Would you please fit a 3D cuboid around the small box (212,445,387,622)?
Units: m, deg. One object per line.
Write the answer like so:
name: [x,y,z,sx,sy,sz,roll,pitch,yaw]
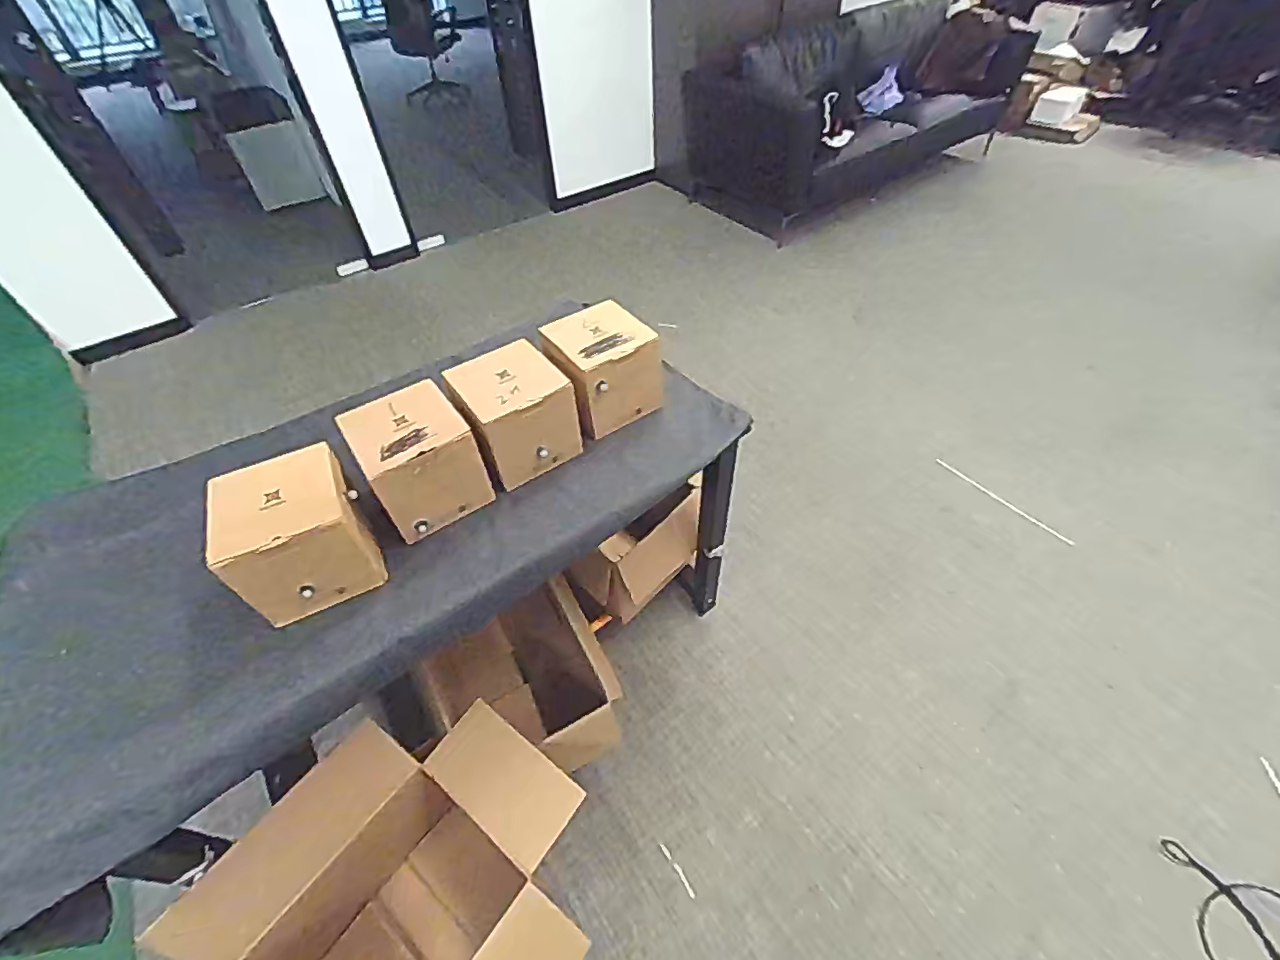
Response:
small box: [-0.511,0.082,0.825,0.168,0.176,0.179,-23,51,-17]
